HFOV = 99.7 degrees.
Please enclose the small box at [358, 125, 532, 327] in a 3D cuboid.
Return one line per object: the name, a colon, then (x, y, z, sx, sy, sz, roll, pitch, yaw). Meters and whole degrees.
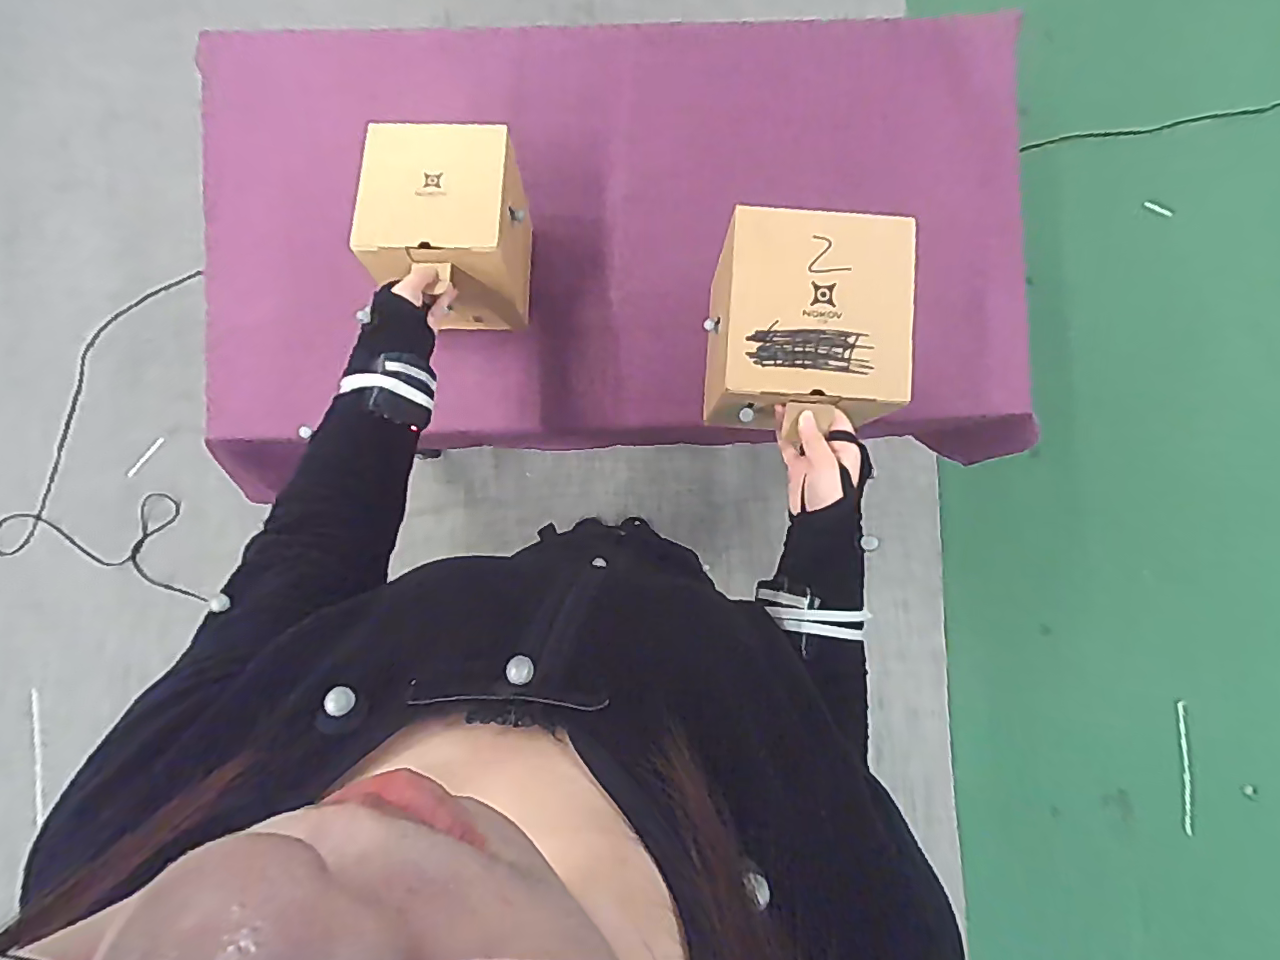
small box: (-0.240, -0.324, 0.712, 0.168, 0.176, 0.179, 0, 76, -1)
